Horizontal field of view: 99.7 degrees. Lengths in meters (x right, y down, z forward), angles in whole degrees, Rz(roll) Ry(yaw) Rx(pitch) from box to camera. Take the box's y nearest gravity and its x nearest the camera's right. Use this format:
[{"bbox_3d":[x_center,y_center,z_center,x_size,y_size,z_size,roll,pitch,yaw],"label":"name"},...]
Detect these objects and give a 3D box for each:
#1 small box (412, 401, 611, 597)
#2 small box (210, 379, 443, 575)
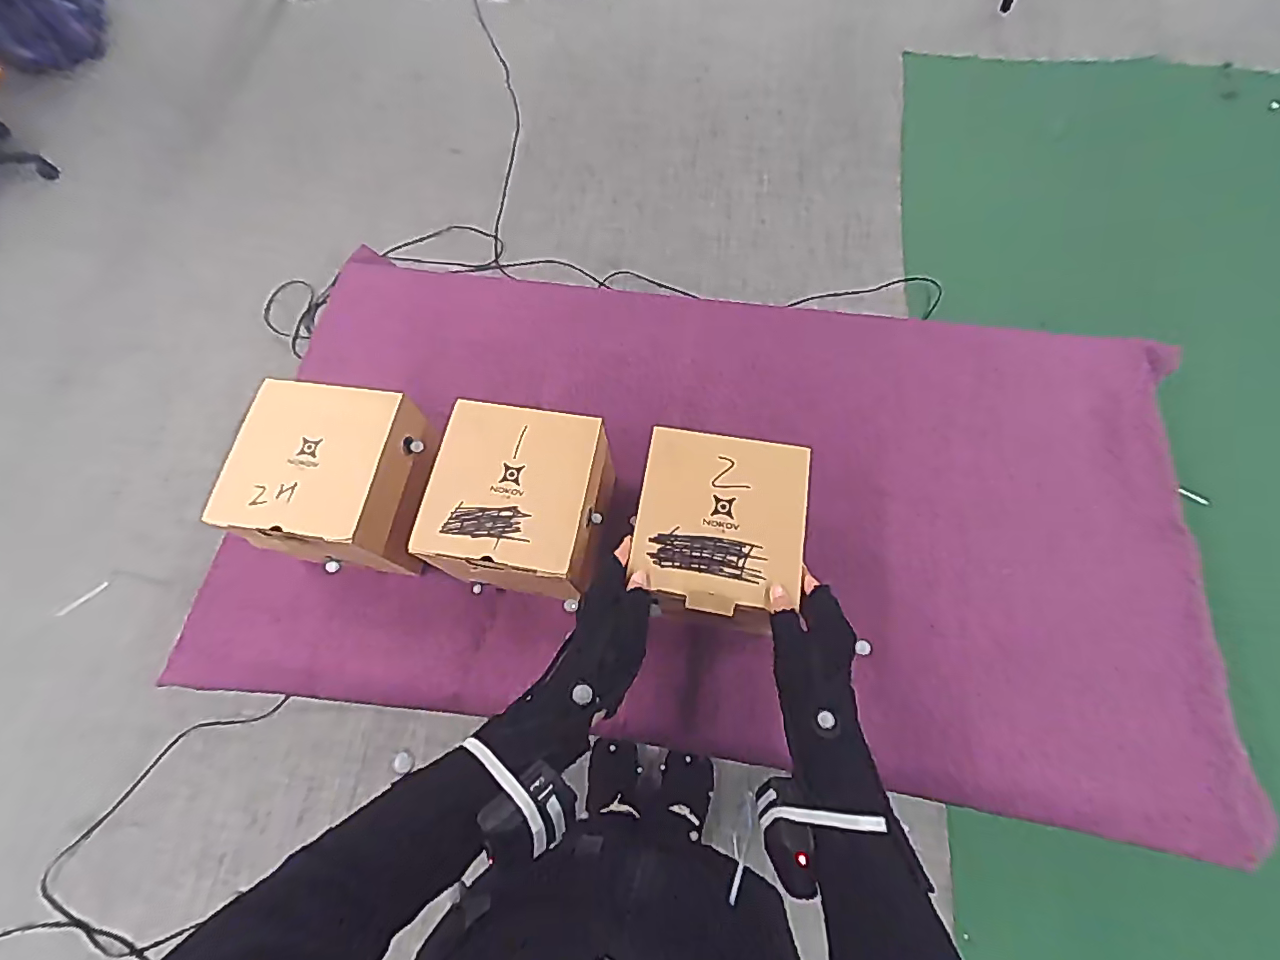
[{"bbox_3d":[-0.133,0.032,0.637,0.168,0.176,0.179,8,69,5],"label":"small box"},{"bbox_3d":[-0.350,0.003,0.657,0.168,0.176,0.179,7,69,6],"label":"small box"}]
